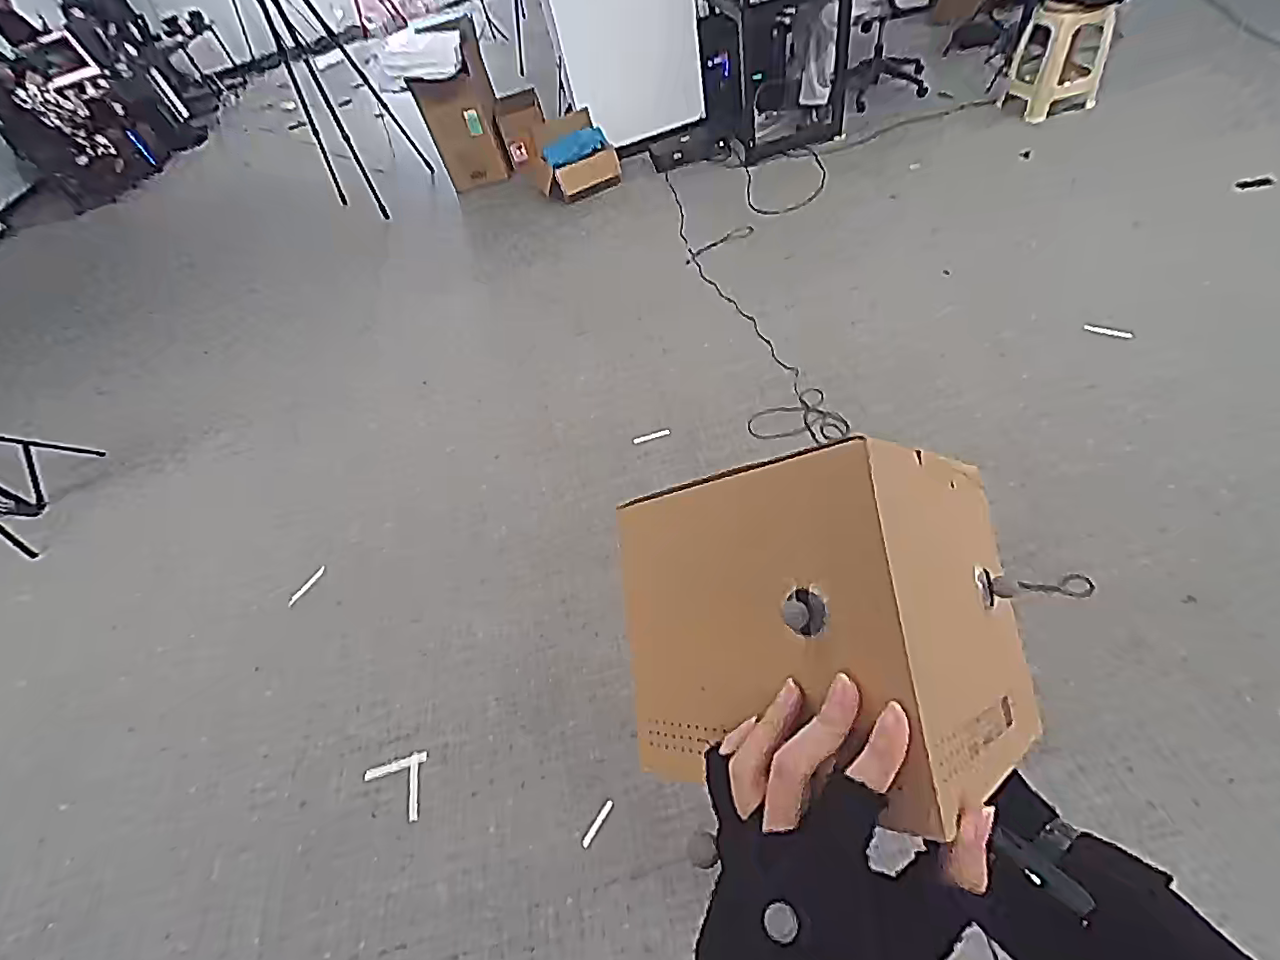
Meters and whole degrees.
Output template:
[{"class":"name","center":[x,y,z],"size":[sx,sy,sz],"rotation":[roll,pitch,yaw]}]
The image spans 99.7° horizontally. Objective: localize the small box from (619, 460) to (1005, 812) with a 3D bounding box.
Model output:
[{"class":"small box","center":[0.110,0.093,0.358],"size":[0.179,0.168,0.176],"rotation":[-19,72,45]}]
